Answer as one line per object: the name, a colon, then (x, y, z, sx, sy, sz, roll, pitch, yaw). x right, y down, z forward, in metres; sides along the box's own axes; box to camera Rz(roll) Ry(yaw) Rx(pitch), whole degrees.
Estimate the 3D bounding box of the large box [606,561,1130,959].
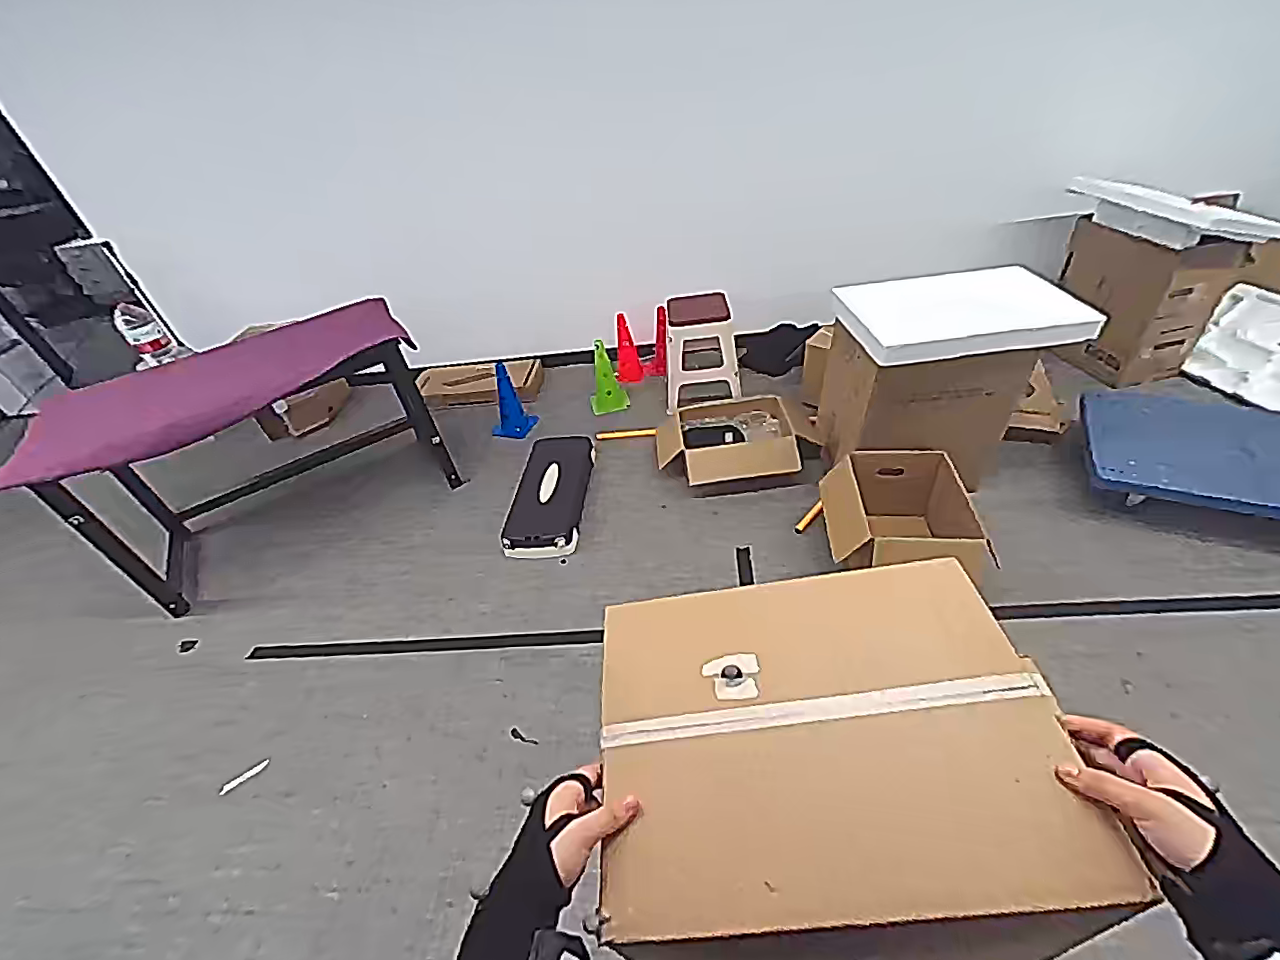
large box: (0.193, 0.337, 0.620, 0.408, 0.320, 0.320, -11, 39, 7)
